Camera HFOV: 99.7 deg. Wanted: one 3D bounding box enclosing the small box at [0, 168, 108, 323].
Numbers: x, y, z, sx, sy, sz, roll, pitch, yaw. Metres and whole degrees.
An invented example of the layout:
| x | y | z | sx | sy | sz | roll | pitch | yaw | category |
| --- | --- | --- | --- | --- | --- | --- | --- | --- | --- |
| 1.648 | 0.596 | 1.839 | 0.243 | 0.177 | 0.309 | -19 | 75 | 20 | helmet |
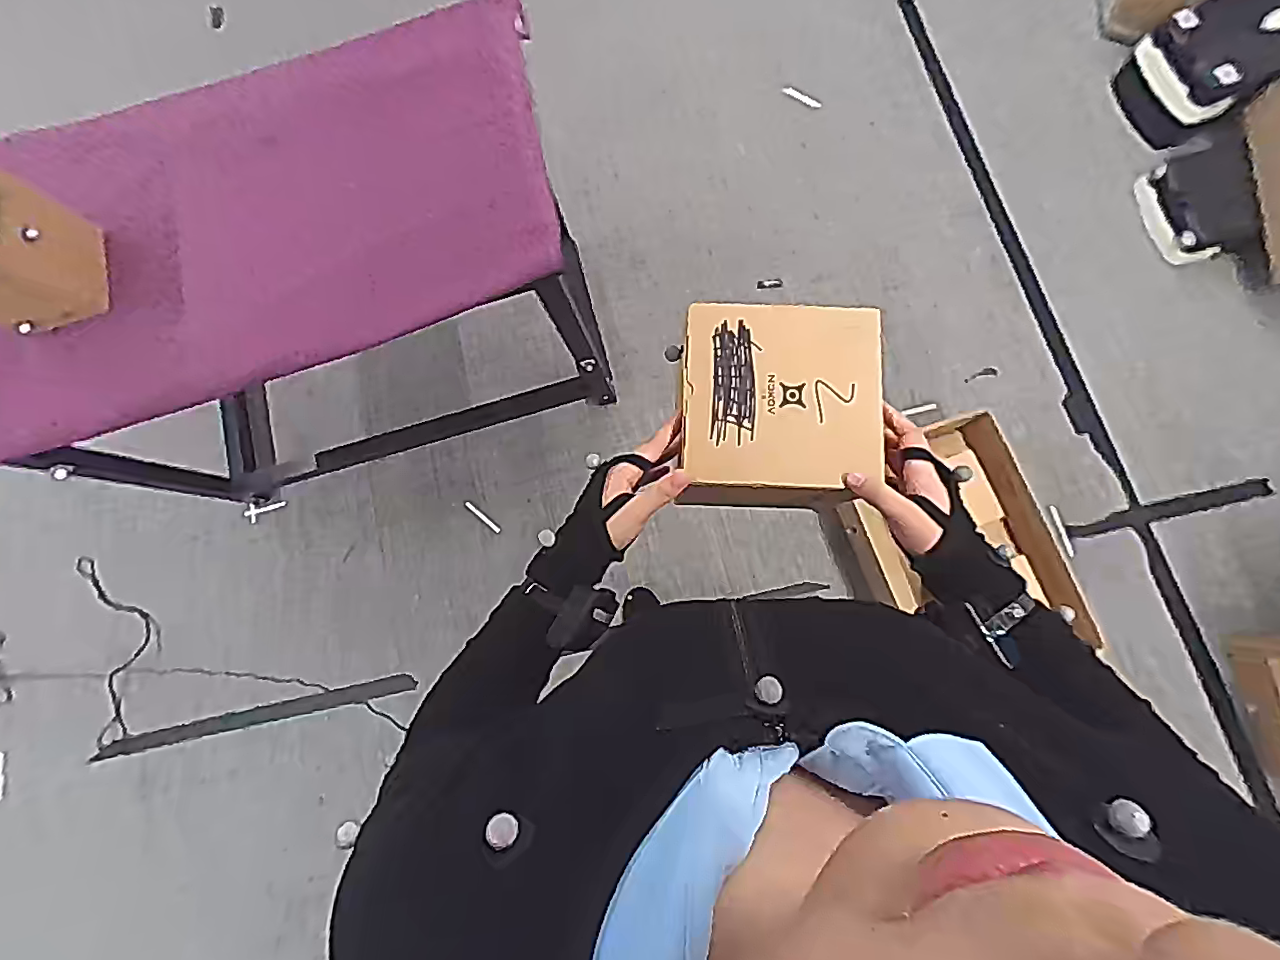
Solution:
| x | y | z | sx | sy | sz | roll | pitch | yaw | category |
| --- | --- | --- | --- | --- | --- | --- | --- | --- | --- |
| -1.064 | -0.387 | 0.920 | 0.168 | 0.176 | 0.179 | -15 | 79 | 2 | small box |

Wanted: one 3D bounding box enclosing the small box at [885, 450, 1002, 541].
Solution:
| x | y | z | sx | sy | sz | roll | pitch | yaw | category |
| --- | --- | --- | --- | --- | --- | --- | --- | --- | --- |
| 0.748 | 0.046 | 1.353 | 0.168 | 0.176 | 0.179 | -21 | 80 | 1 | small box |

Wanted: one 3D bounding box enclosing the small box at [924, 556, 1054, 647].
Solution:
| x | y | z | sx | sy | sz | roll | pitch | yaw | category |
| --- | --- | --- | --- | --- | --- | --- | --- | --- | --- |
| 0.830 | 0.288 | 1.304 | 0.179 | 0.176 | 0.168 | -19 | 78 | 2 | small box |
